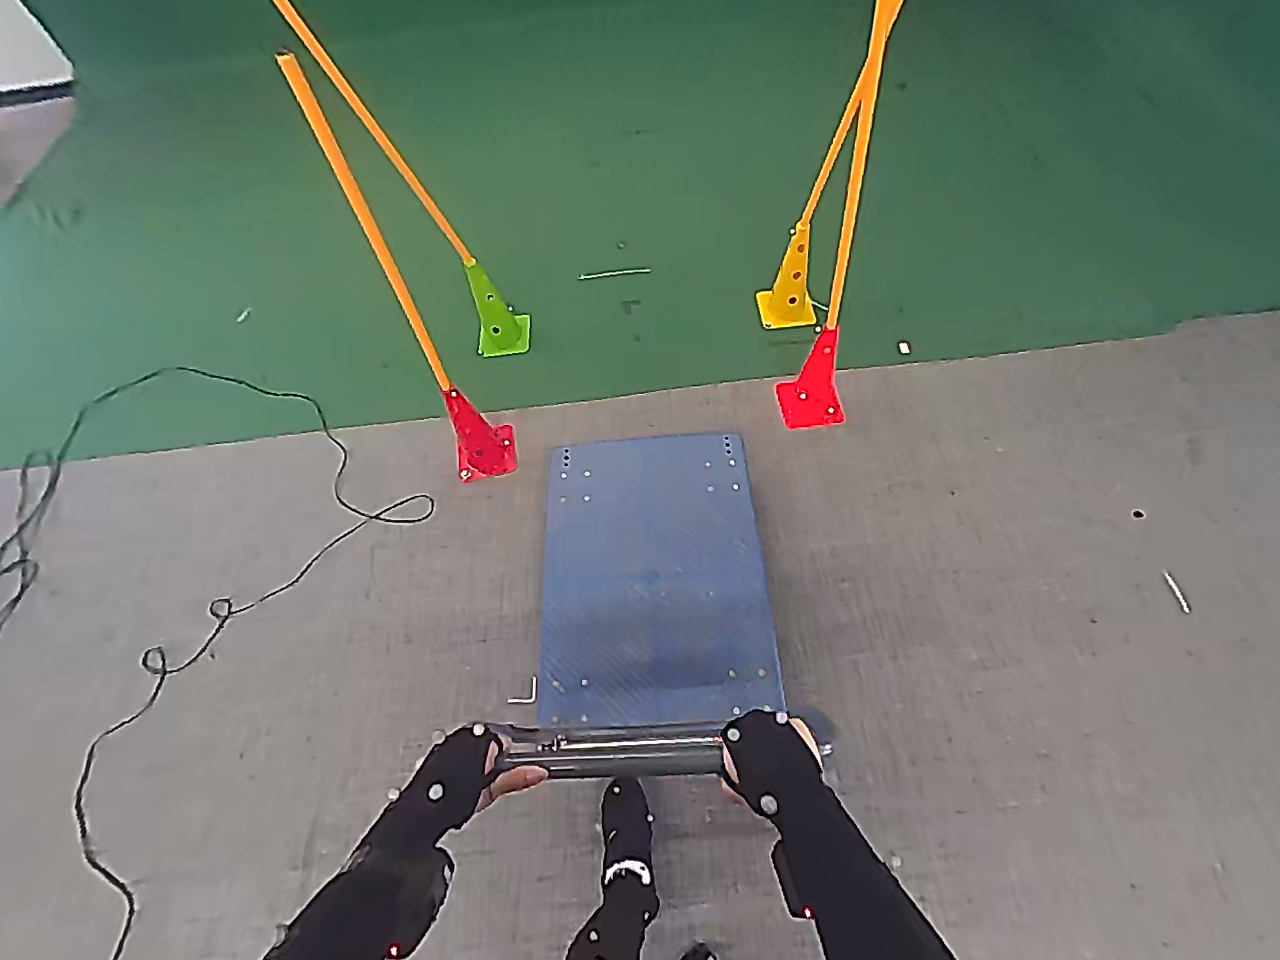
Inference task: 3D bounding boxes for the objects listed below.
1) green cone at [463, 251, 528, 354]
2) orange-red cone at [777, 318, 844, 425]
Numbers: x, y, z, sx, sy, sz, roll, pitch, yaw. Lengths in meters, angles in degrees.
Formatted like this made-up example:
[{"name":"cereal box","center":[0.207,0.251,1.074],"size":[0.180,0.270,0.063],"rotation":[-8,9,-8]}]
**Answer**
[{"name":"green cone","center":[-0.555,-0.663,1.968],"size":[0.200,0.368,0.202],"rotation":[-7,59,3]},{"name":"orange-red cone","center":[0.559,-0.358,1.682],"size":[0.198,0.360,0.199],"rotation":[-6,58,2]}]
